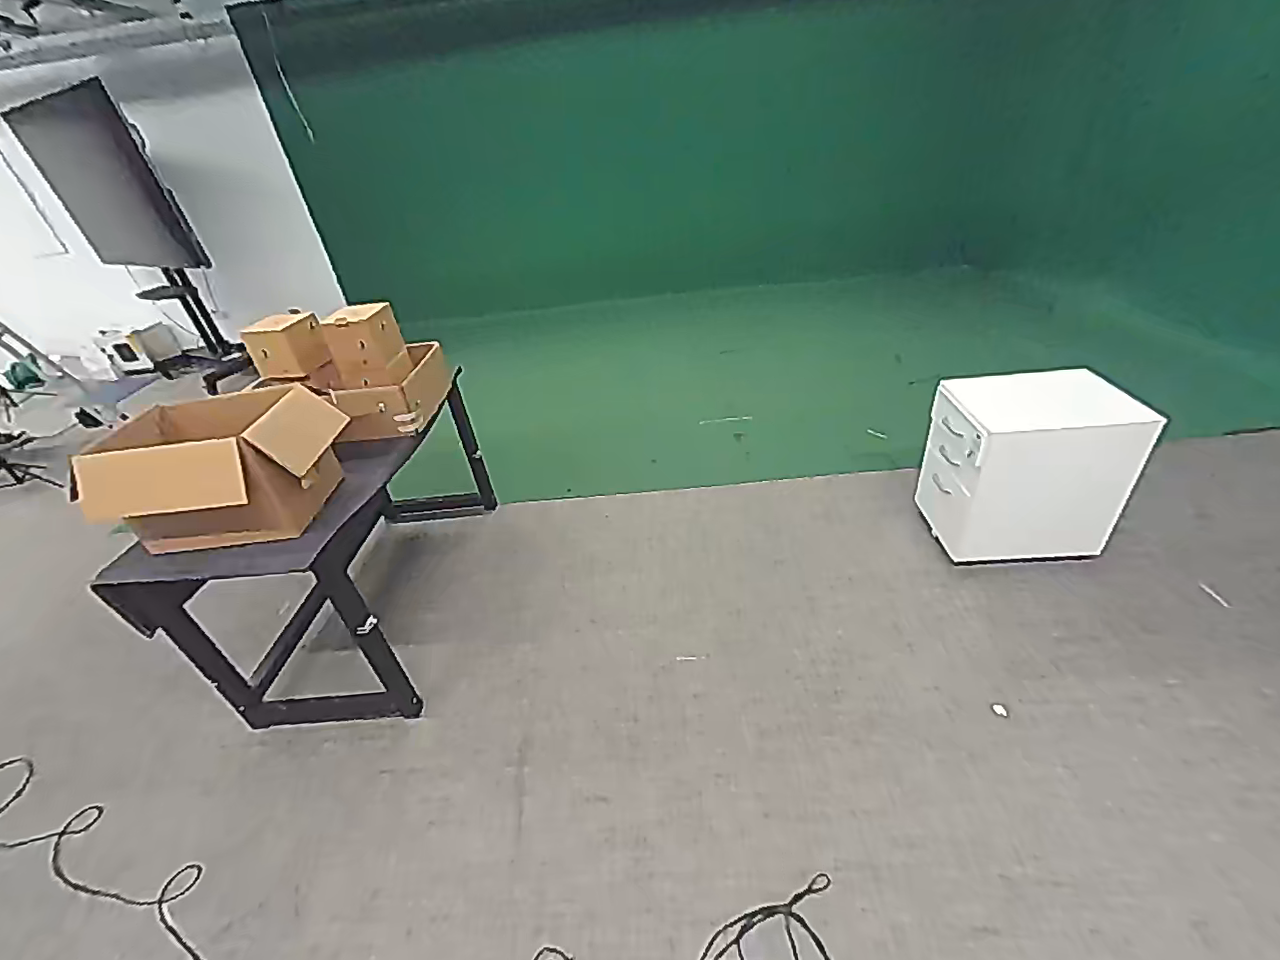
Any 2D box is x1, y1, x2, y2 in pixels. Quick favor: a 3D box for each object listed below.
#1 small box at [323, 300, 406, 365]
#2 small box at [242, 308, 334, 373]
[{"bbox_3d":[-0.929,-0.499,1.842,0.168,0.176,0.179,-2,35,6],"label":"small box"},{"bbox_3d":[-1.198,-0.477,1.858,0.168,0.176,0.179,1,35,9],"label":"small box"}]
